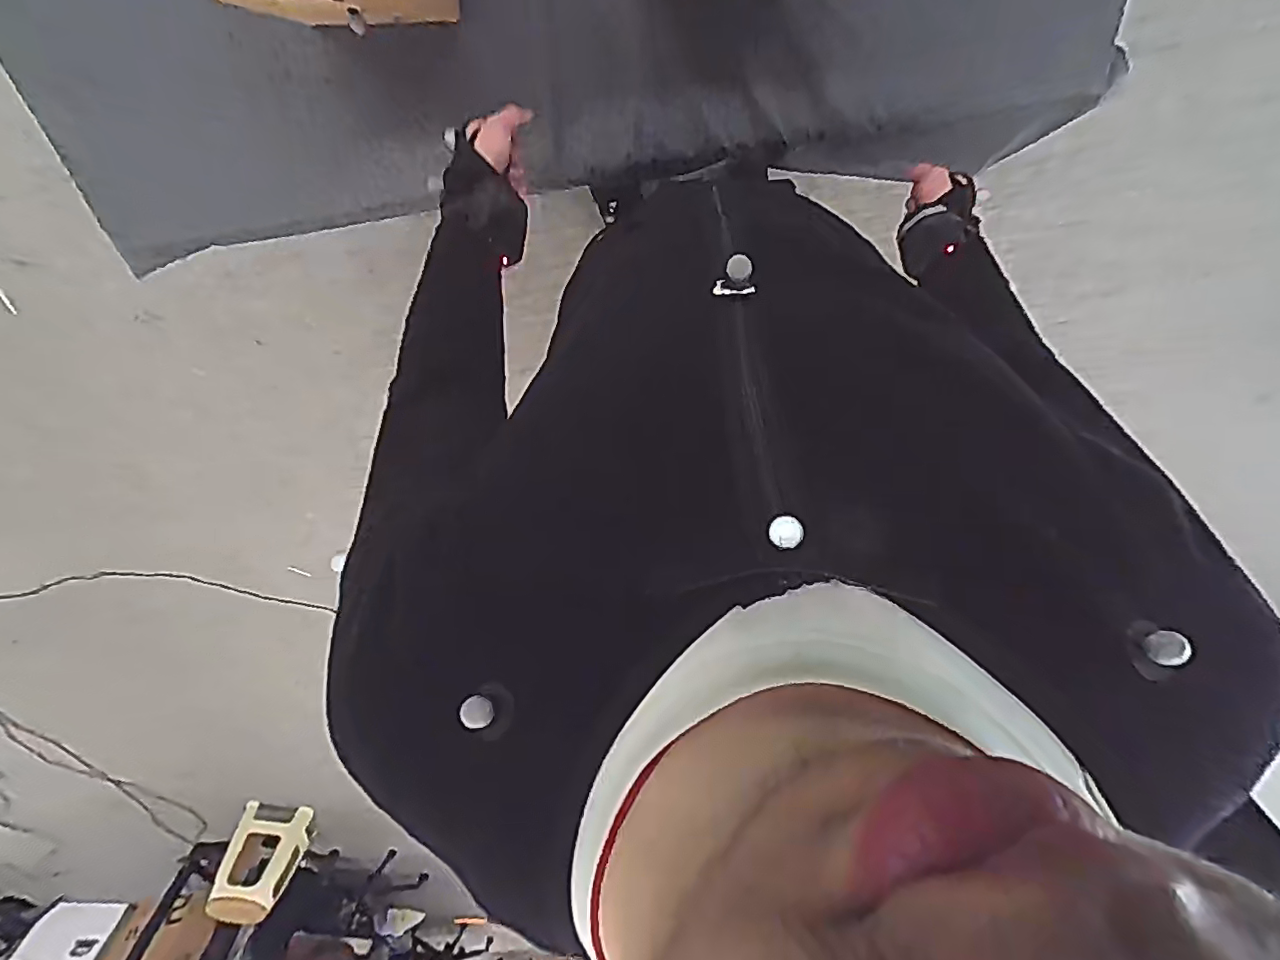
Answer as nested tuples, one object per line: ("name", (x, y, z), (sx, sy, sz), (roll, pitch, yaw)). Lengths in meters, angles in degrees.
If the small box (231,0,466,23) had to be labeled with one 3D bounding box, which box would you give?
("small box", (-0.268, -0.520, 0.468), (0.168, 0.176, 0.179), (-3, 123, 4))
